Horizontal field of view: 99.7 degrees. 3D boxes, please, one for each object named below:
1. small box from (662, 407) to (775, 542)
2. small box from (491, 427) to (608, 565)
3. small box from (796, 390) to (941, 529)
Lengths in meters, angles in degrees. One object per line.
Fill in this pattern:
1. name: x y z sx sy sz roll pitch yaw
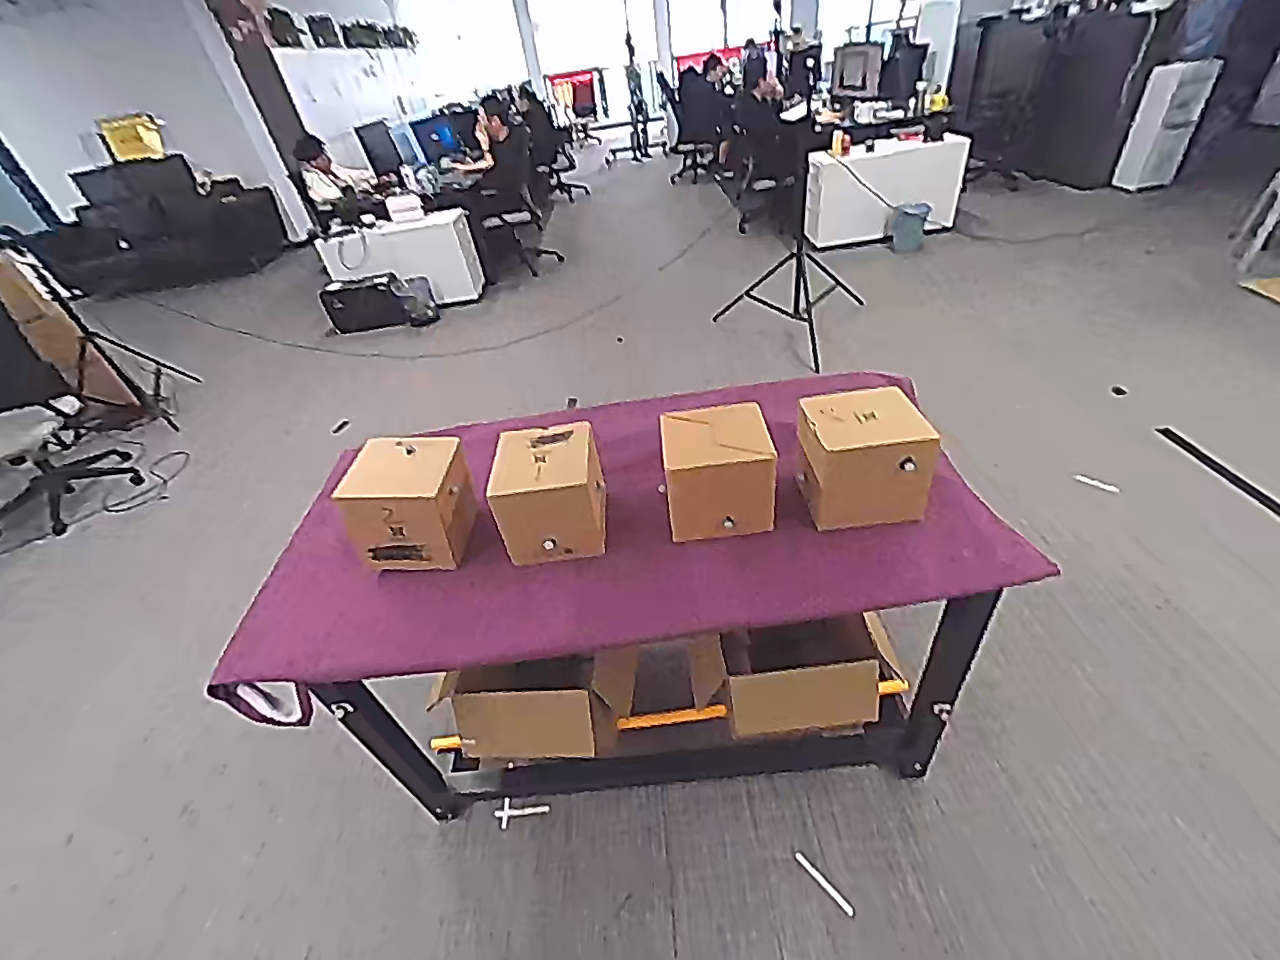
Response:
1. small box: 0.134 -0.013 0.954 0.179 0.176 0.168 -7 37 4
2. small box: -0.152 0.028 0.970 0.168 0.176 0.179 -8 39 3
3. small box: 0.378 -0.035 0.931 0.179 0.176 0.168 -7 36 4
